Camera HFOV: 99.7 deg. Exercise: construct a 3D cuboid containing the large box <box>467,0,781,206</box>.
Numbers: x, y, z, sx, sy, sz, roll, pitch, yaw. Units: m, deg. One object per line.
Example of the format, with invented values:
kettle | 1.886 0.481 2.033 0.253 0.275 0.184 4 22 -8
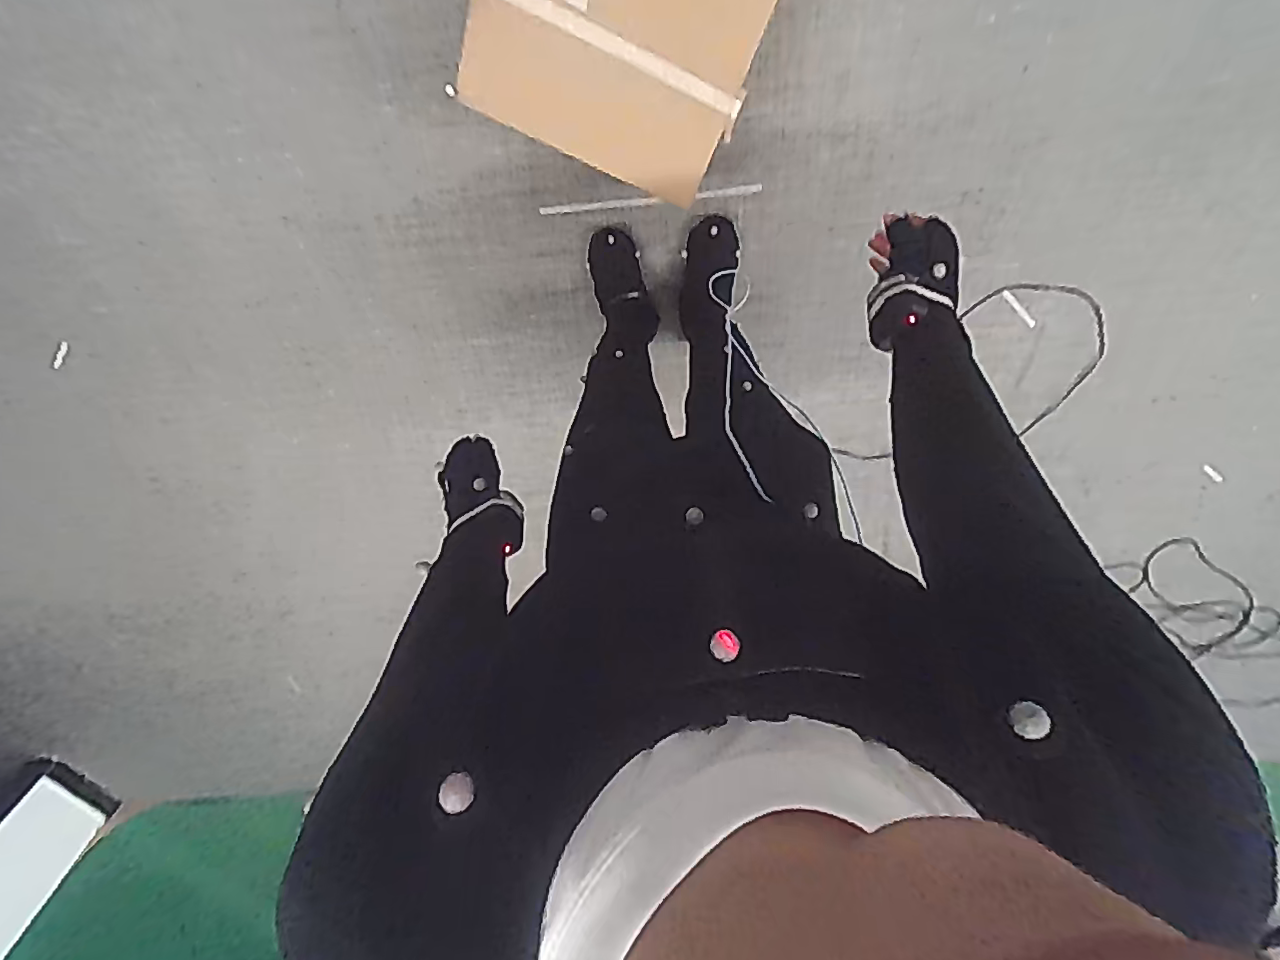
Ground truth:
large box | -0.024 -0.723 0.916 0.408 0.320 0.320 20 124 -11
